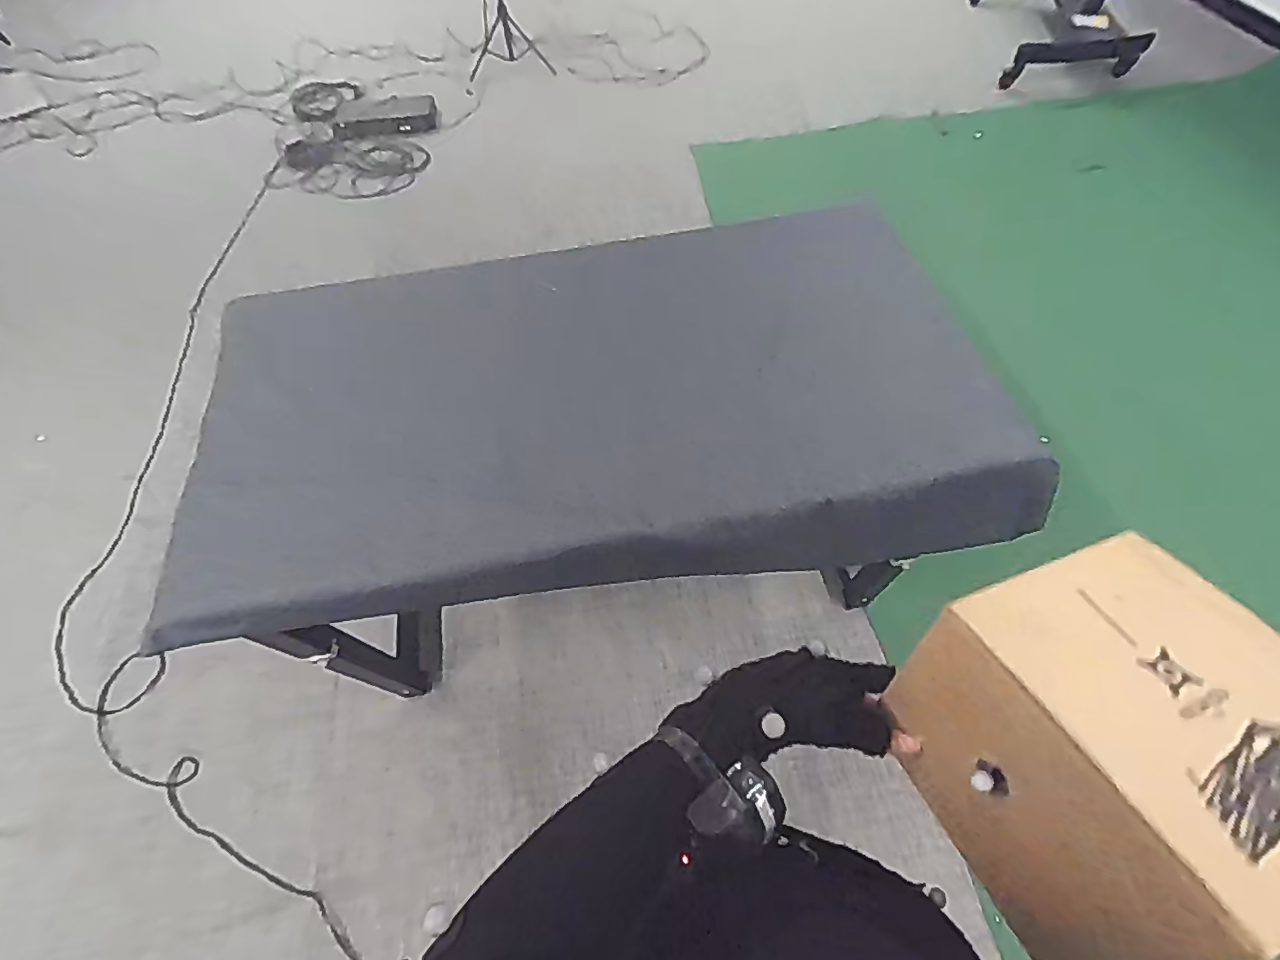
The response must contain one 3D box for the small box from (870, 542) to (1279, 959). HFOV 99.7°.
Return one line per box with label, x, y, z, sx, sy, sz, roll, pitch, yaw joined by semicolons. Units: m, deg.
small box;0.290;0.176;0.356;0.168;0.176;0.179;-14;46;-15
